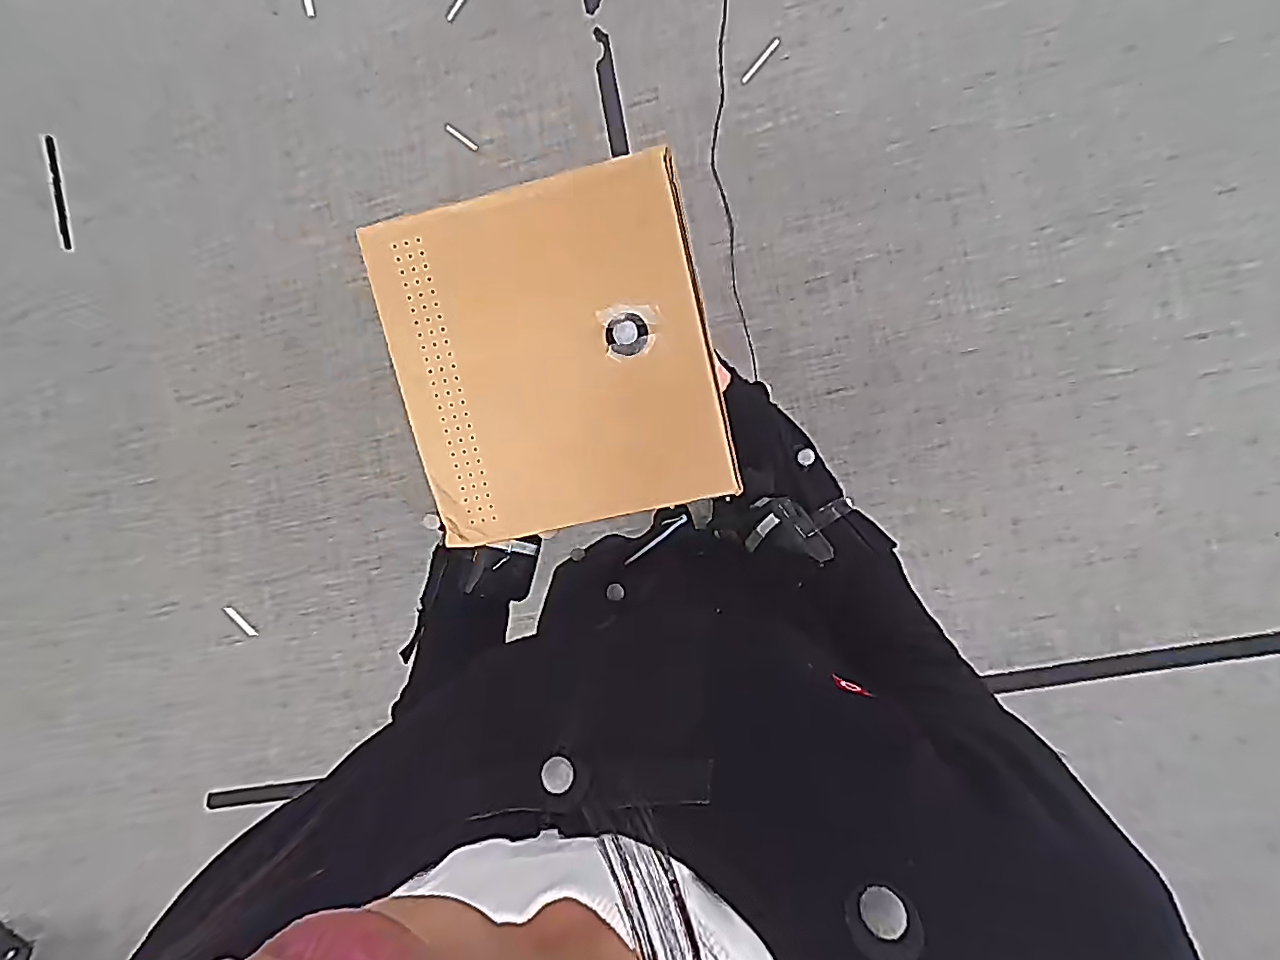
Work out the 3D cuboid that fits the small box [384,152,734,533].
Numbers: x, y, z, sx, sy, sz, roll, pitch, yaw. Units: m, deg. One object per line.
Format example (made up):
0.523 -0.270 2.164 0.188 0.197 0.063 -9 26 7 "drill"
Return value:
-0.043 -0.079 0.369 0.176 0.168 0.179 -12 98 7 "small box"
